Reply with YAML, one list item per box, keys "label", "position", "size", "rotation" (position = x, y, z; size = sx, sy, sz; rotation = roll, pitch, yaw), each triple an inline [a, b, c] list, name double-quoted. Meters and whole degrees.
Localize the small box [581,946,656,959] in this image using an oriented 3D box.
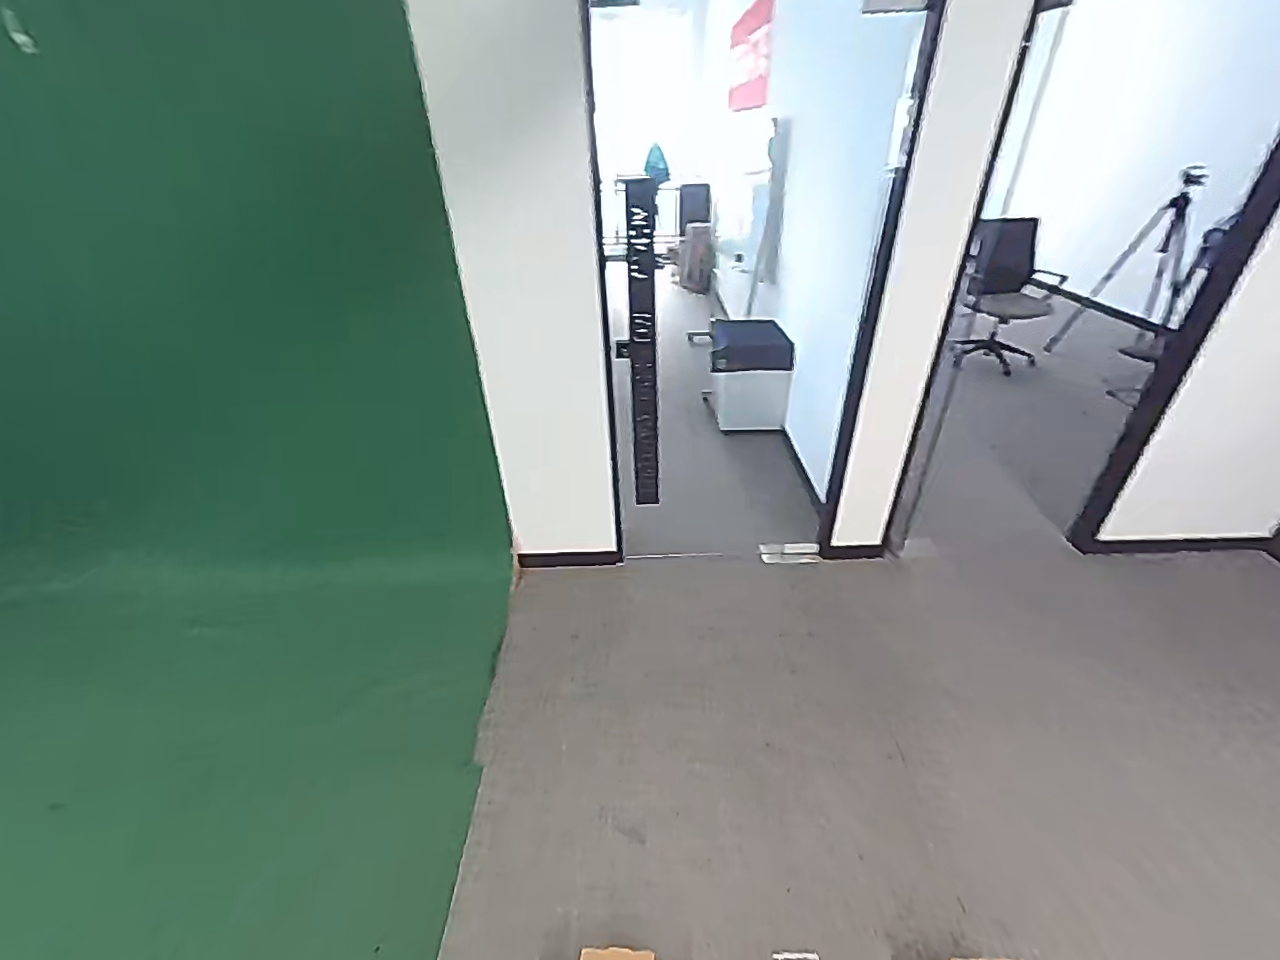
- label: "small box"
  position: [-0.051, 1.151, 1.165]
  size: [0.168, 0.176, 0.179]
  rotation: [0, 34, 4]
